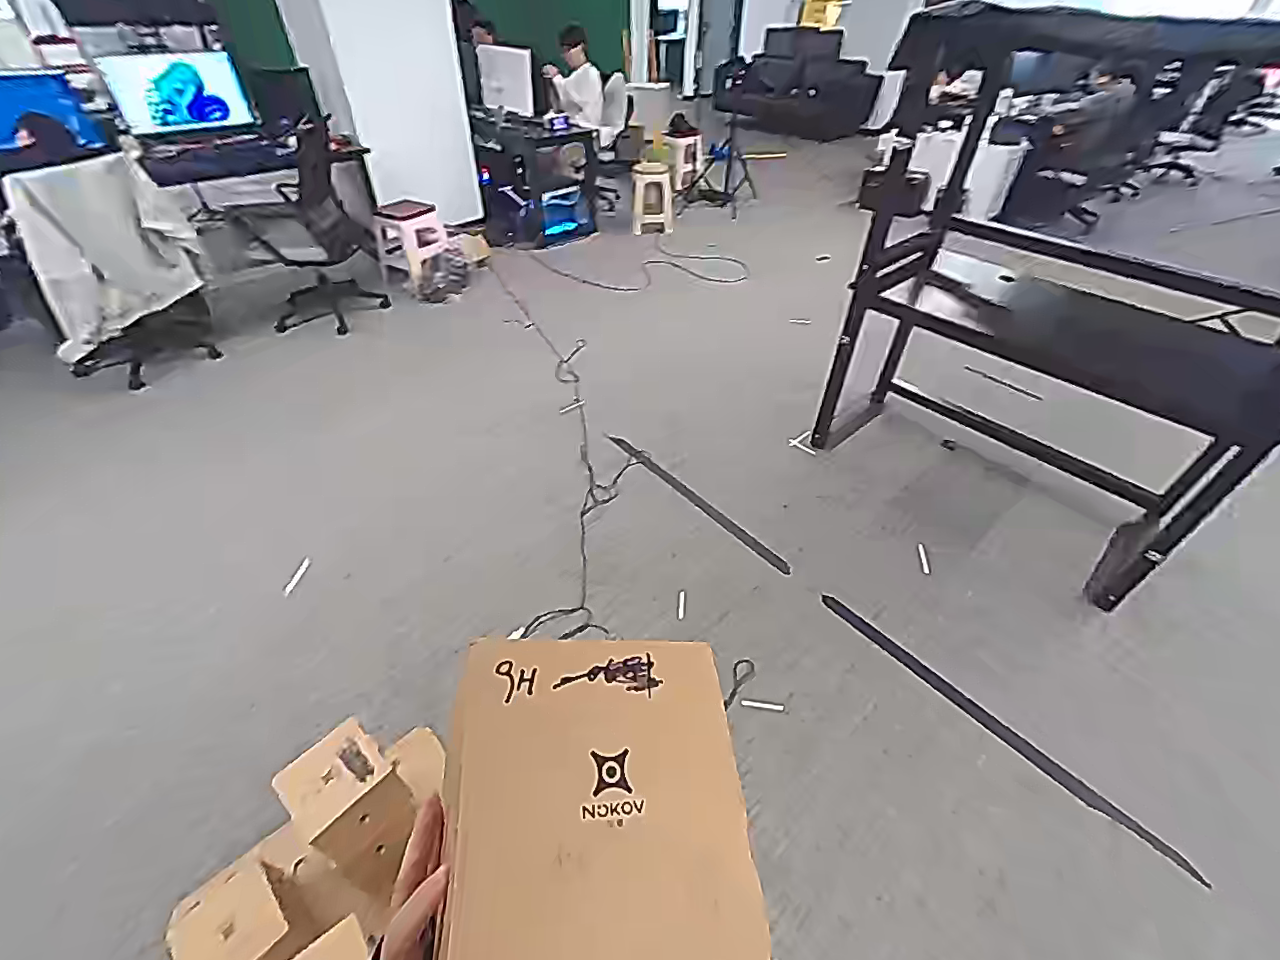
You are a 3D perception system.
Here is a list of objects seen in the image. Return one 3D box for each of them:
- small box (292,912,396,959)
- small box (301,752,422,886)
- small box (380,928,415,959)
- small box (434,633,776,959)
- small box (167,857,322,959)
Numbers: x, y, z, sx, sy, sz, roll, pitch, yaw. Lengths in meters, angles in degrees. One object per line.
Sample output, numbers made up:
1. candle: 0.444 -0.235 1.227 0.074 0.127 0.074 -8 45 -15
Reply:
1. small box: -0.492 0.869 0.883 0.168 0.176 0.179 -28 51 -28
2. small box: -0.622 0.772 1.232 0.168 0.176 0.179 32 51 29
3. small box: -0.496 0.989 0.996 0.168 0.176 0.179 -29 51 -29
4. small box: -0.039 0.218 0.360 0.168 0.176 0.179 8 51 -19
5. small box: -0.779 0.909 1.078 0.179 0.176 0.168 31 52 29
